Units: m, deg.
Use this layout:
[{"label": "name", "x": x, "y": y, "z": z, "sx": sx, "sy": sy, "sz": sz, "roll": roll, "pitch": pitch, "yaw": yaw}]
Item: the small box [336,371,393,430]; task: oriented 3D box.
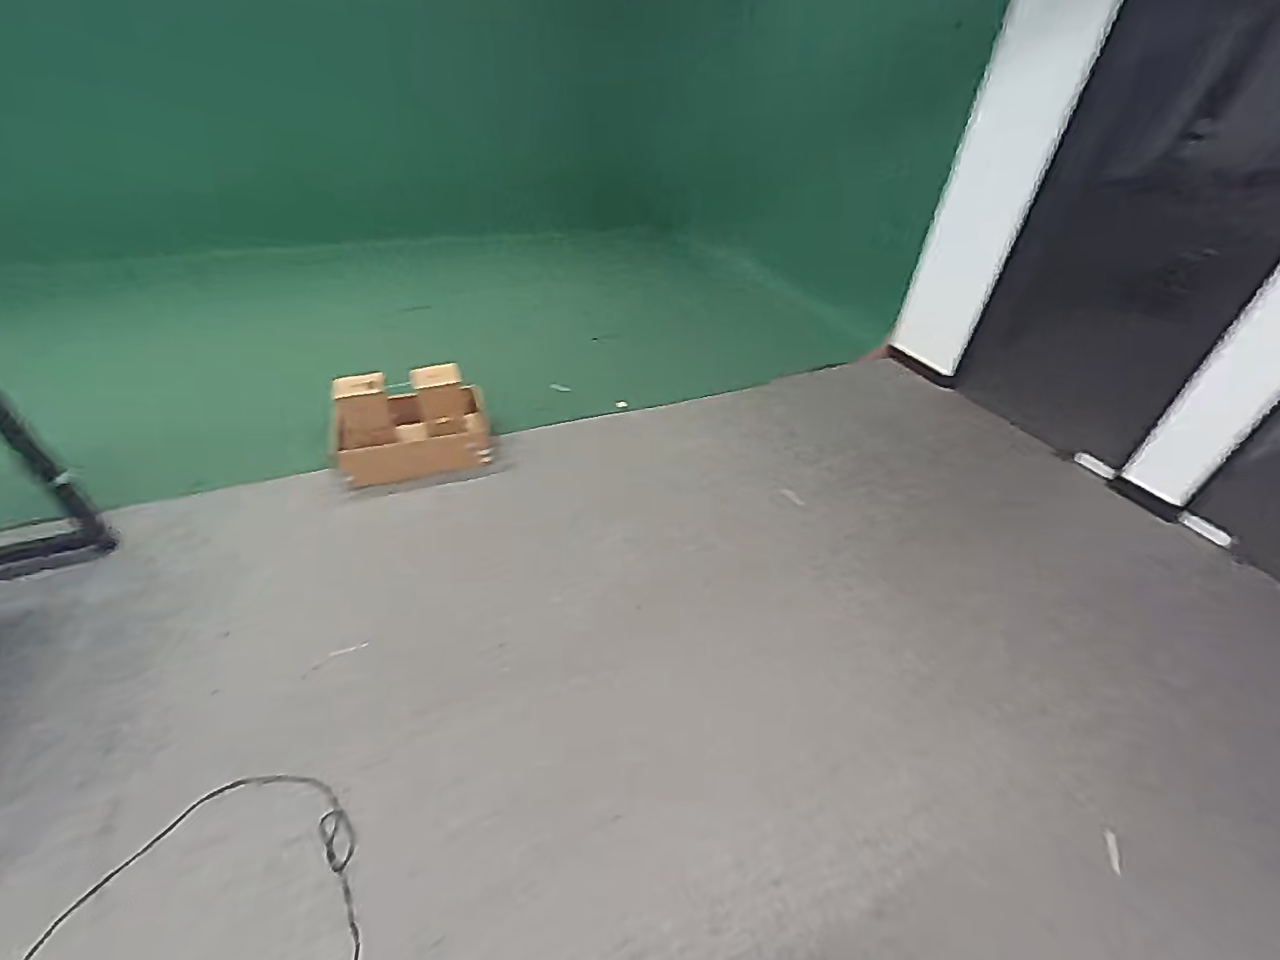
[{"label": "small box", "x": -1.126, "y": -0.327, "z": 2.222, "sx": 0.179, "sy": 0.176, "sz": 0.168, "roll": -11, "pitch": 42, "yaw": -17}]

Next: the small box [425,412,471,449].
[{"label": "small box", "x": -0.859, "y": -0.252, "z": 2.415, "sx": 0.168, "sy": 0.176, "sz": 0.179, "roll": -11, "pitch": 43, "yaw": -16}]

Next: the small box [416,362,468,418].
[{"label": "small box", "x": -0.849, "y": -0.383, "z": 2.318, "sx": 0.179, "sy": 0.176, "sz": 0.168, "roll": -12, "pitch": 44, "yaw": -19}]
